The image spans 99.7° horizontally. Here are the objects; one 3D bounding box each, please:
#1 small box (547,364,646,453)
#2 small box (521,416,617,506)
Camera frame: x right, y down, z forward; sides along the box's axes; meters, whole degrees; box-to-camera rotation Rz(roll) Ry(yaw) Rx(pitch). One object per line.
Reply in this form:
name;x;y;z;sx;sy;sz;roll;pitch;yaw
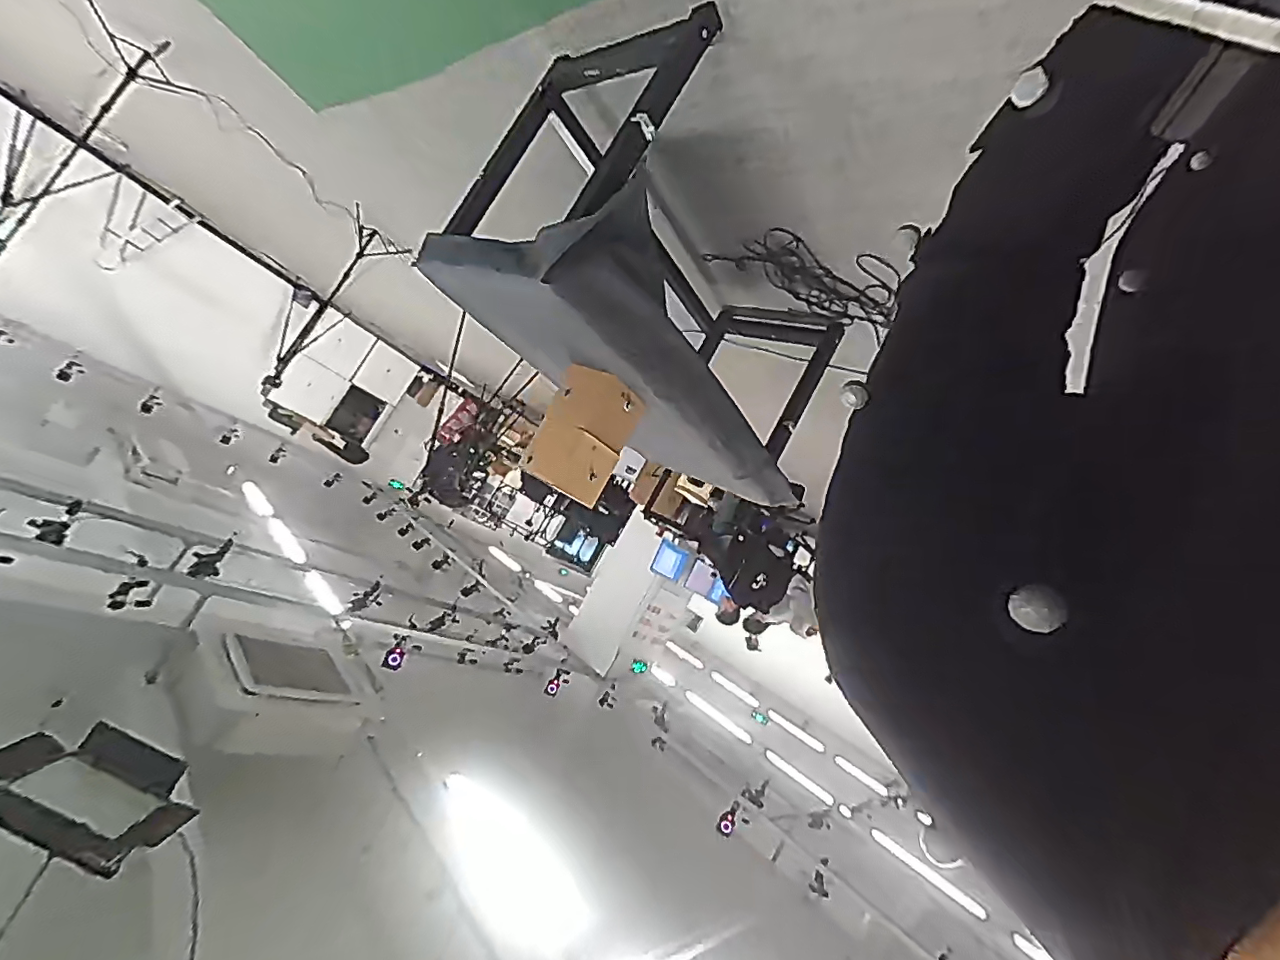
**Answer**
small box;-0.114;-0.201;1.491;0.179;0.176;0.168;23;173;40
small box;-0.184;-0.056;1.472;0.179;0.176;0.168;25;174;41
